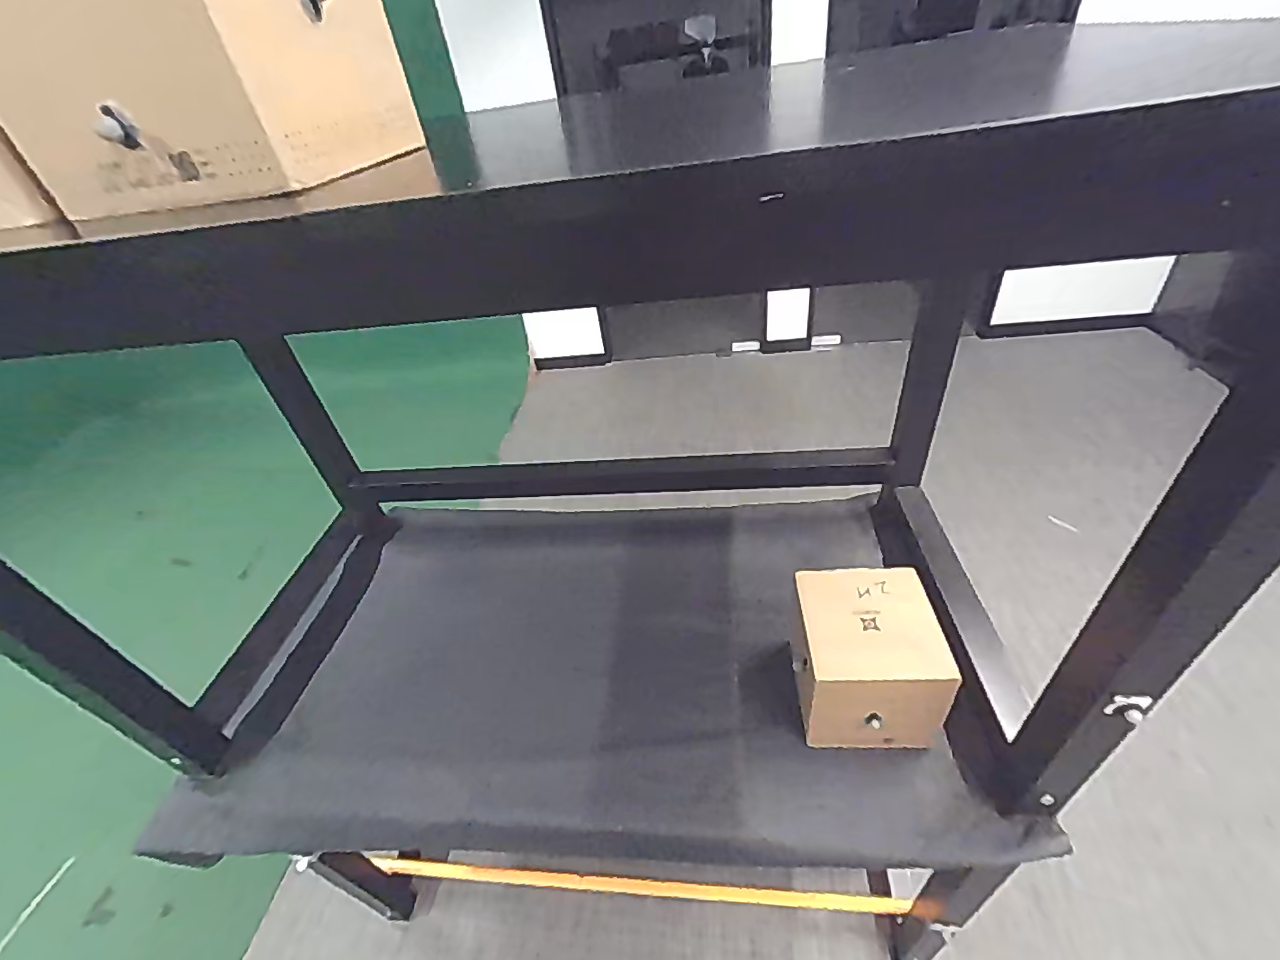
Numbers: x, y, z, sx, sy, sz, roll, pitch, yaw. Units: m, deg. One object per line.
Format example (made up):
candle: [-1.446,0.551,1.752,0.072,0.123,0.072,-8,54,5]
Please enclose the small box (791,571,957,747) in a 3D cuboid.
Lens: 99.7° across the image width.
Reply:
small box: [0.307,0.249,0.750,0.168,0.176,0.179,-3,38,7]
